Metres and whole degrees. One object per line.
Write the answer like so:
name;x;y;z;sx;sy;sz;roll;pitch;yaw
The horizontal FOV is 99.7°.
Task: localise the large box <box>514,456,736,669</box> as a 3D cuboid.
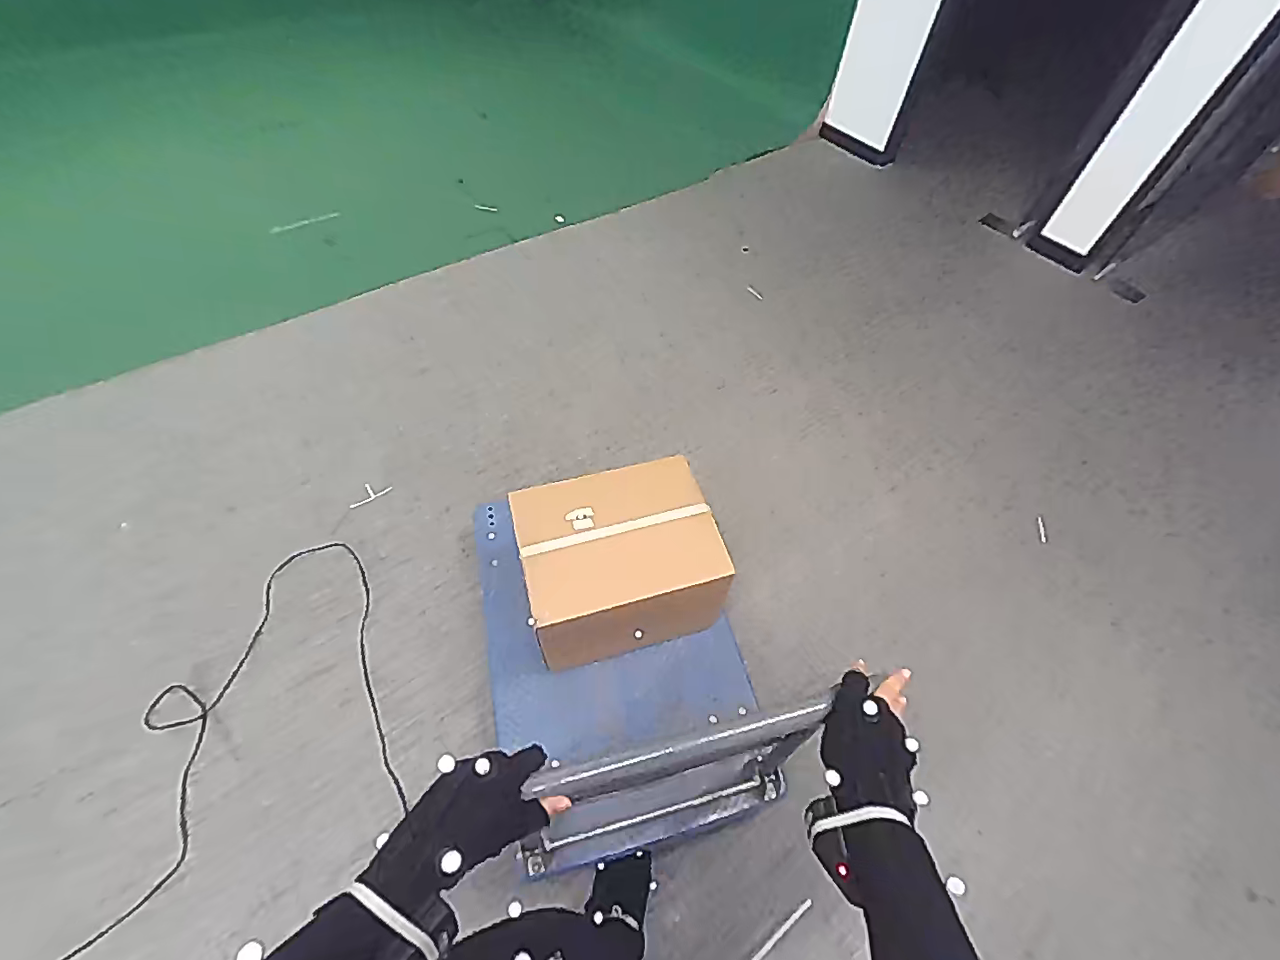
large box;-0.044;0.194;1.245;0.408;0.320;0.320;-13;56;-12
